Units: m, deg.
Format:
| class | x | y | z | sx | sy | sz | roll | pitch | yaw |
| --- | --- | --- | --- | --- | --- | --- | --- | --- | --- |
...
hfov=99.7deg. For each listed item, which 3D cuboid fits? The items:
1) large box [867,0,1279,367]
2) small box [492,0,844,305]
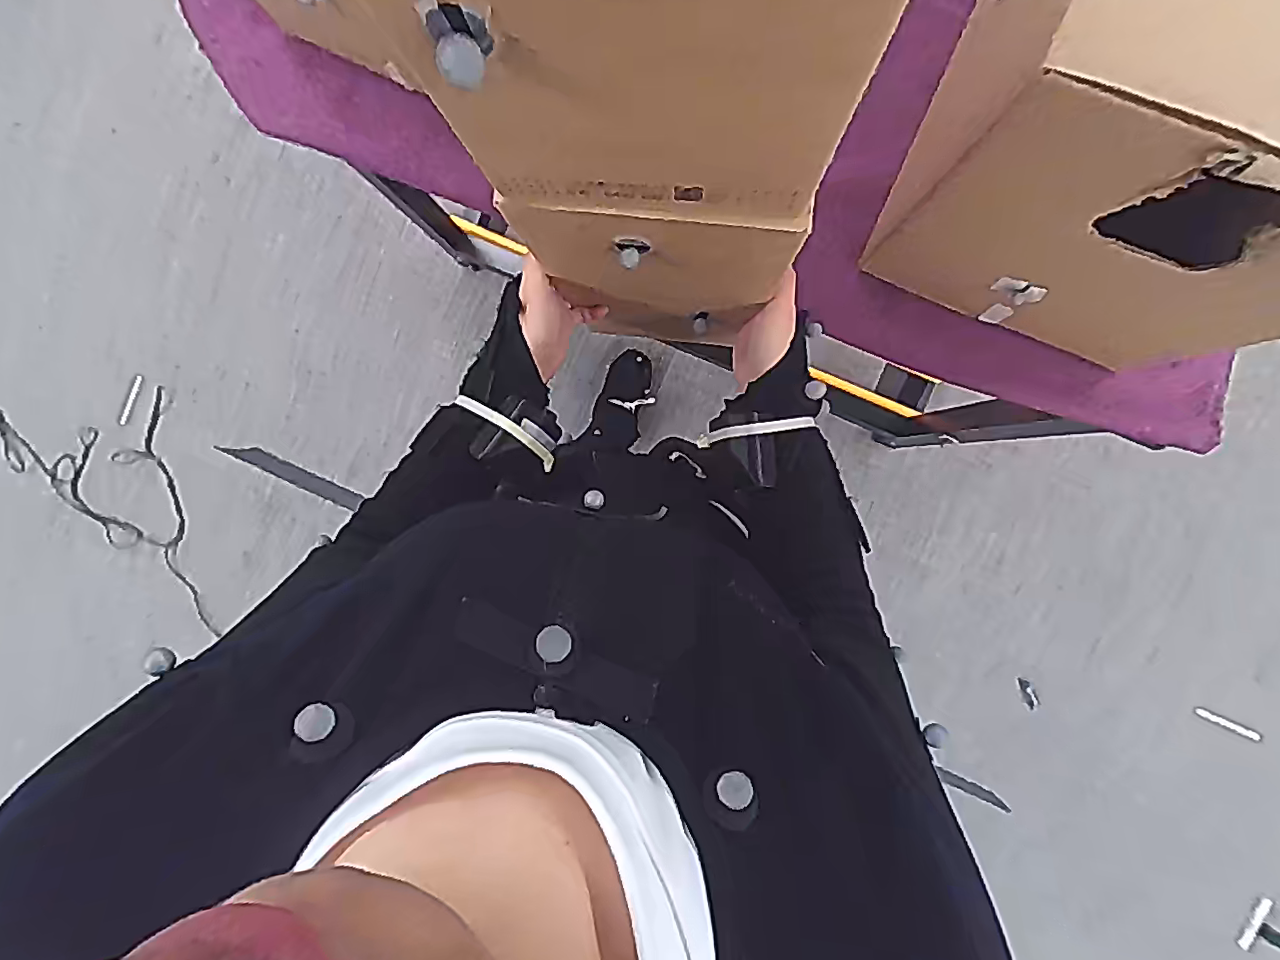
| class | x | y | z | sx | sy | sz | roll | pitch | yaw |
| --- | --- | --- | --- | --- | --- | --- | --- | --- | --- |
| large box | 0.449 | -0.355 | 0.438 | 0.320 | 0.320 | 0.408 | 23 | 92 | 2 |
| small box | 0.020 | -0.227 | 0.362 | 0.179 | 0.176 | 0.168 | 7 | 93 | 3 |
